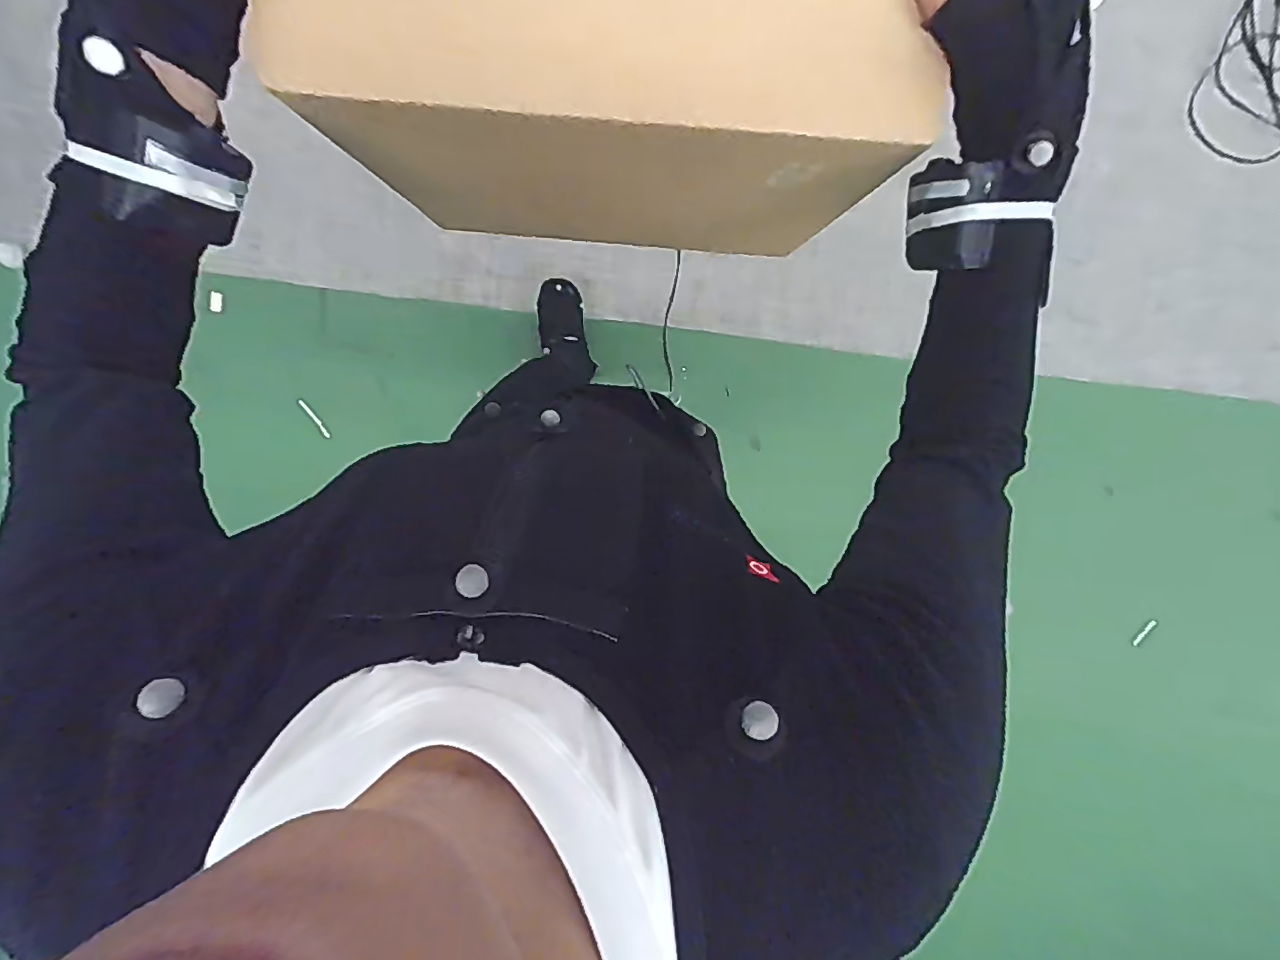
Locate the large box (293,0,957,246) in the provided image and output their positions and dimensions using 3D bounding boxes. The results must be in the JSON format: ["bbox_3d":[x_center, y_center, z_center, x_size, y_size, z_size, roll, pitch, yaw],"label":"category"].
[{"bbox_3d":[-0.008,-0.402,0.453,0.408,0.320,0.320,3,101,-3],"label":"large box"}]
